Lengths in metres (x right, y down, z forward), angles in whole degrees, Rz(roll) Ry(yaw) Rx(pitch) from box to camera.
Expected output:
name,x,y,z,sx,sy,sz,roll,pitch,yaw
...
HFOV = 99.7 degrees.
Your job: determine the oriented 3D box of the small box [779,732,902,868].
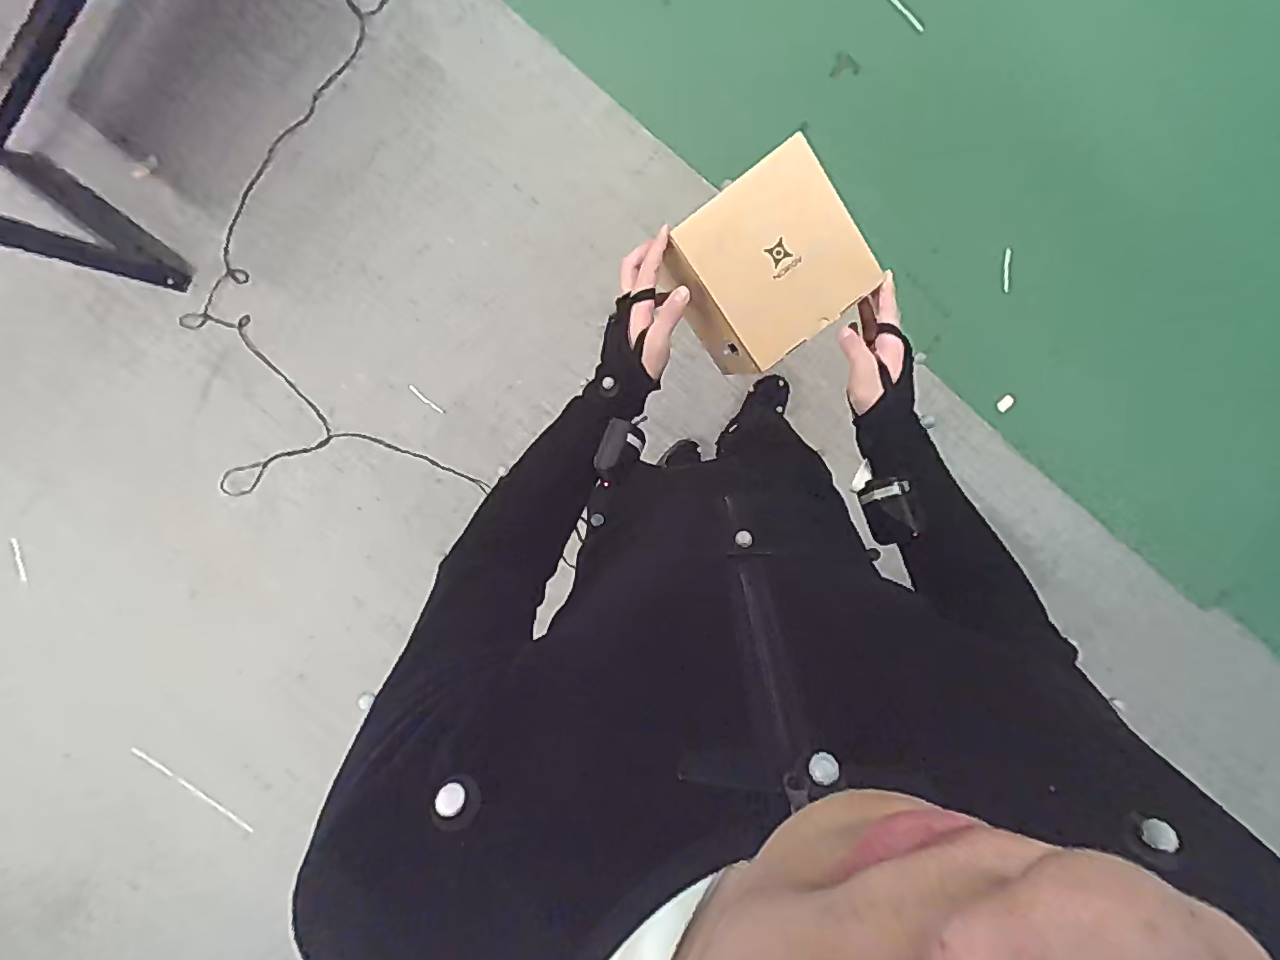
name,x,y,z,sx,sy,sz,roll,pitch,yaw
small box,0.437,0.702,1.214,0.168,0.176,0.179,-38,94,8
